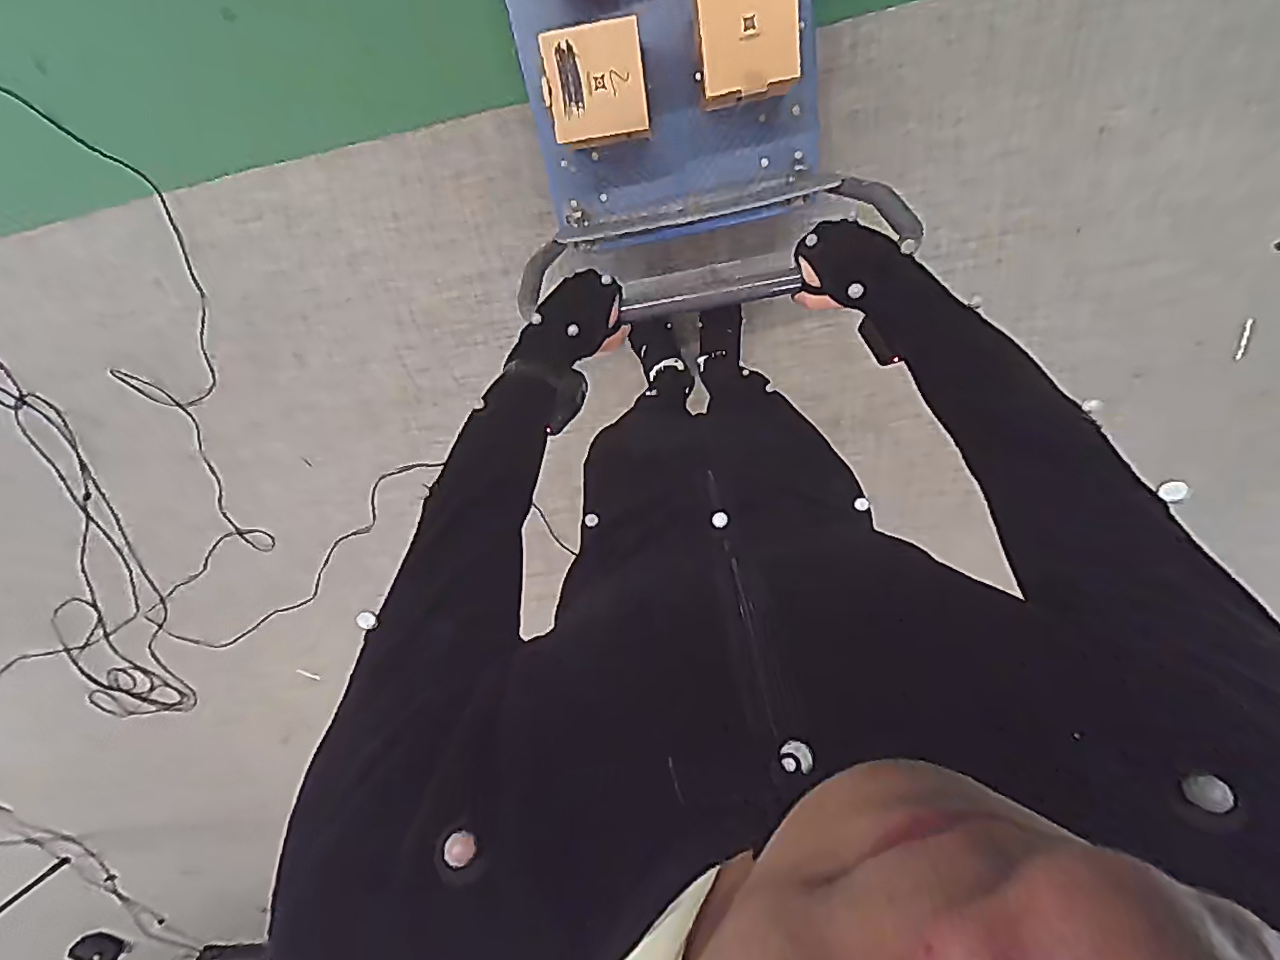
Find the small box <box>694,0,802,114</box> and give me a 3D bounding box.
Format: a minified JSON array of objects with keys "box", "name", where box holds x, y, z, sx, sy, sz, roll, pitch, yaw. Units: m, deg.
[{"box":[0.192,-0.797,0.987,0.168,0.176,0.179,-8,118,7],"name":"small box"}]
